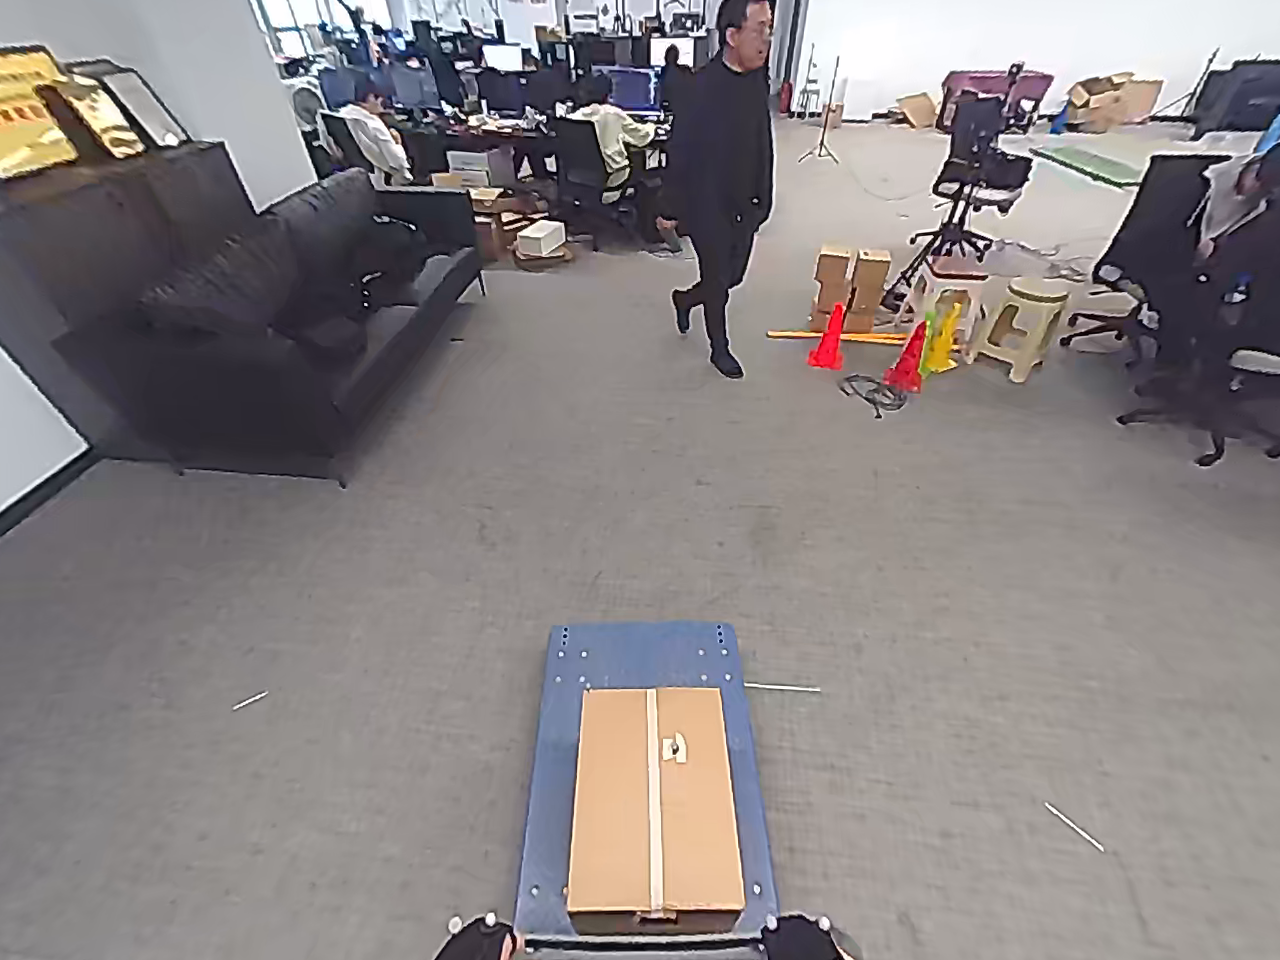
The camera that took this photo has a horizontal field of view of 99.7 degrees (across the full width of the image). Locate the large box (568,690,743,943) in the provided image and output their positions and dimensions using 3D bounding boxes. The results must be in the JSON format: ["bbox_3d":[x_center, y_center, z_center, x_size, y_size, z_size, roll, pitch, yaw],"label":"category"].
[{"bbox_3d":[0.027,0.728,1.187,0.320,0.320,0.408,-1,41,0],"label":"large box"}]
